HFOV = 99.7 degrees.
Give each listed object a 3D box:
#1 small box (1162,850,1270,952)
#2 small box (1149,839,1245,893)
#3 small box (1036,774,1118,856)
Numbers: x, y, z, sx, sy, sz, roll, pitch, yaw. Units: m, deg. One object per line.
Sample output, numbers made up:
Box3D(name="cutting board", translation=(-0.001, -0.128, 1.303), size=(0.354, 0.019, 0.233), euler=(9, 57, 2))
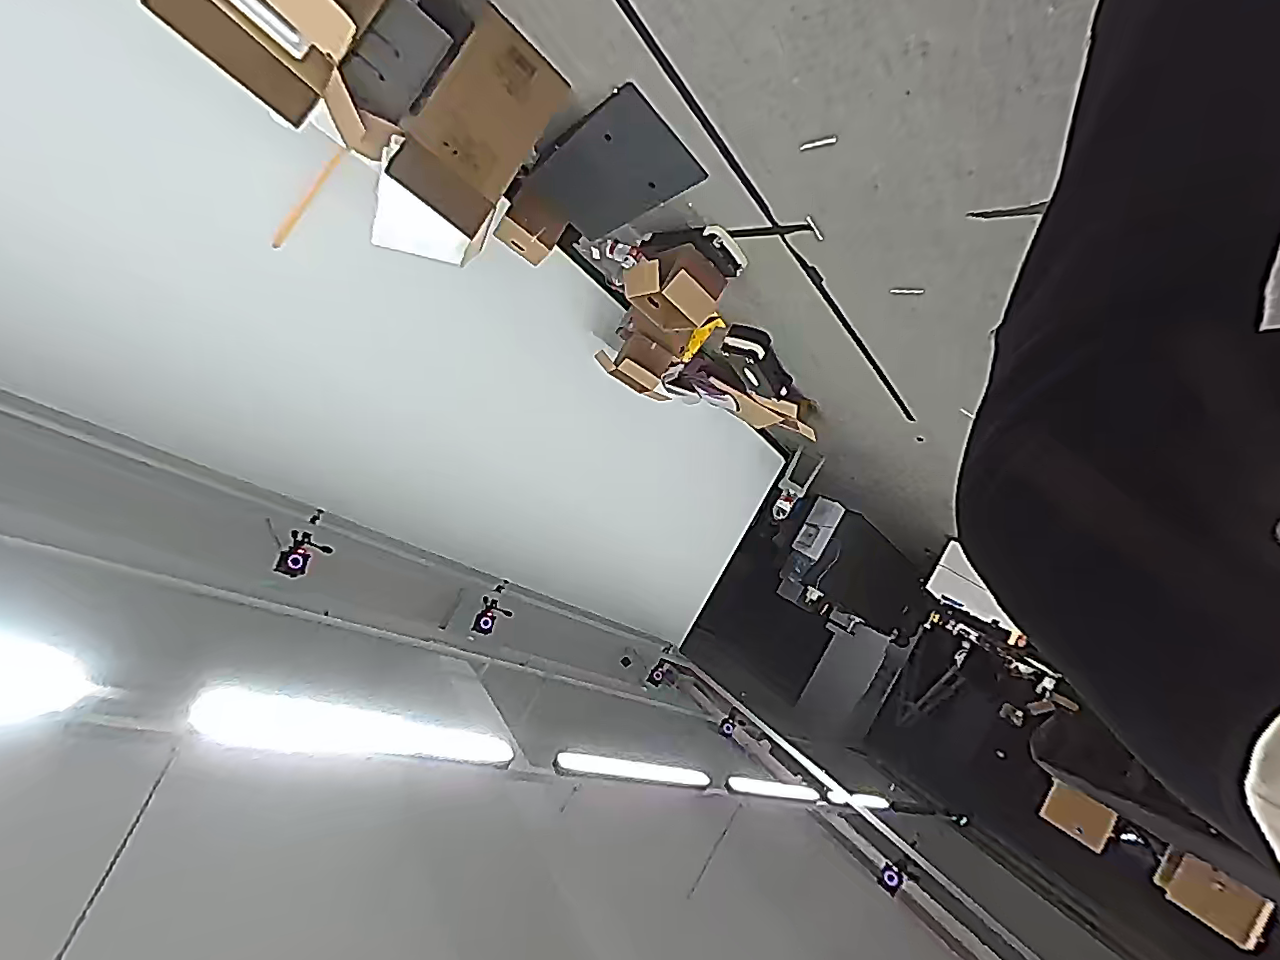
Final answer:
Box3D(name="small box", translation=(1.677, 1.217, 1.571), size=(0.179, 0.176, 0.168), euler=(33, 175, -31))
Box3D(name="small box", translation=(1.792, 1.296, 1.741), size=(0.168, 0.176, 0.179), euler=(32, 176, -41))
Box3D(name="small box", translation=(1.468, 1.114, 1.813), size=(0.168, 0.176, 0.179), euler=(25, 175, 46))
